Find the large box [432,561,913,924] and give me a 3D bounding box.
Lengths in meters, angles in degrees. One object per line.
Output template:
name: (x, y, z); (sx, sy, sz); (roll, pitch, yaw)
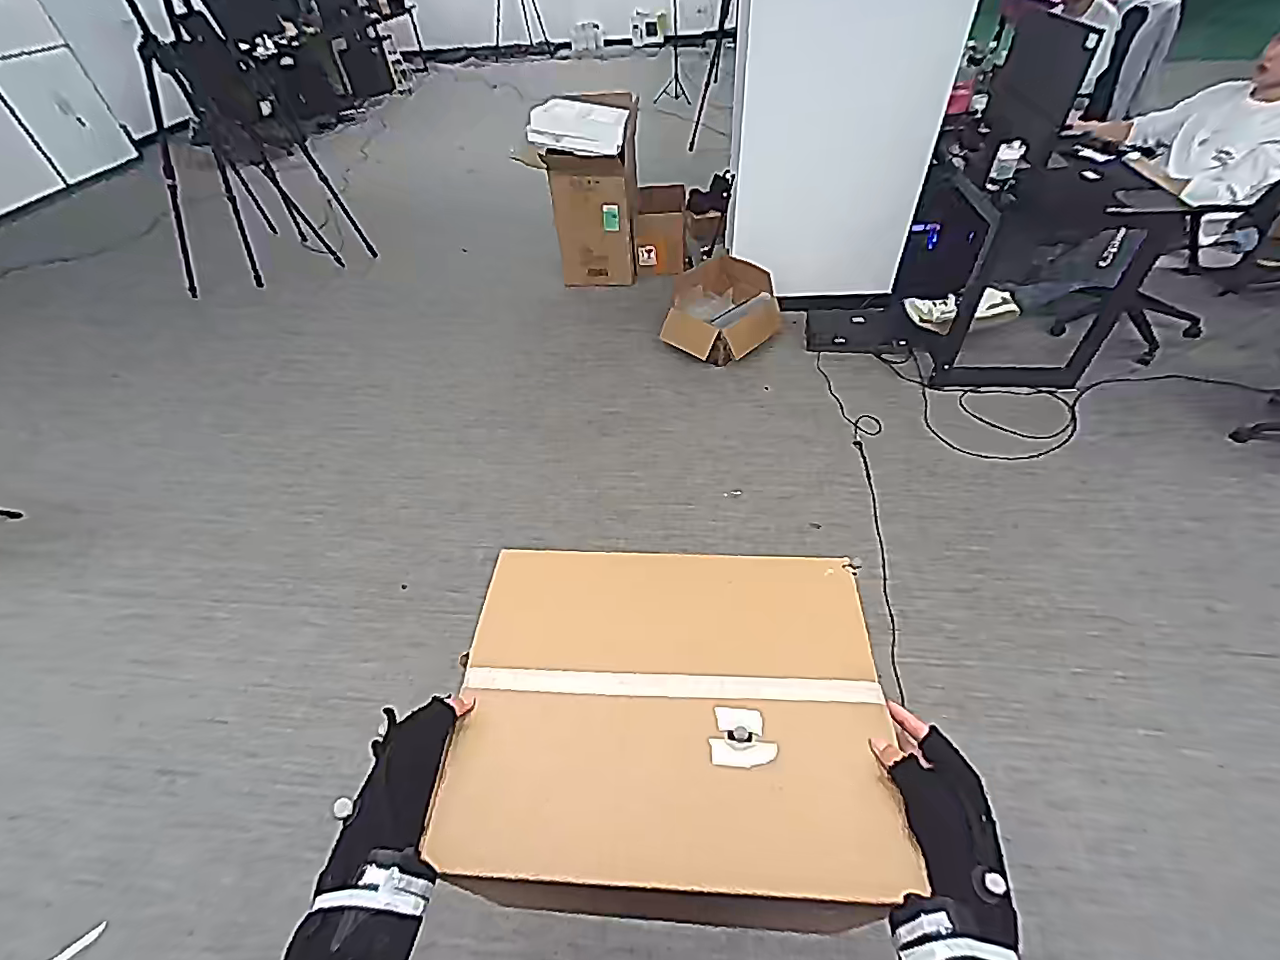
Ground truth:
large box: (0.032, 0.313, 0.648); (0.408, 0.320, 0.320); (1, 48, 4)
